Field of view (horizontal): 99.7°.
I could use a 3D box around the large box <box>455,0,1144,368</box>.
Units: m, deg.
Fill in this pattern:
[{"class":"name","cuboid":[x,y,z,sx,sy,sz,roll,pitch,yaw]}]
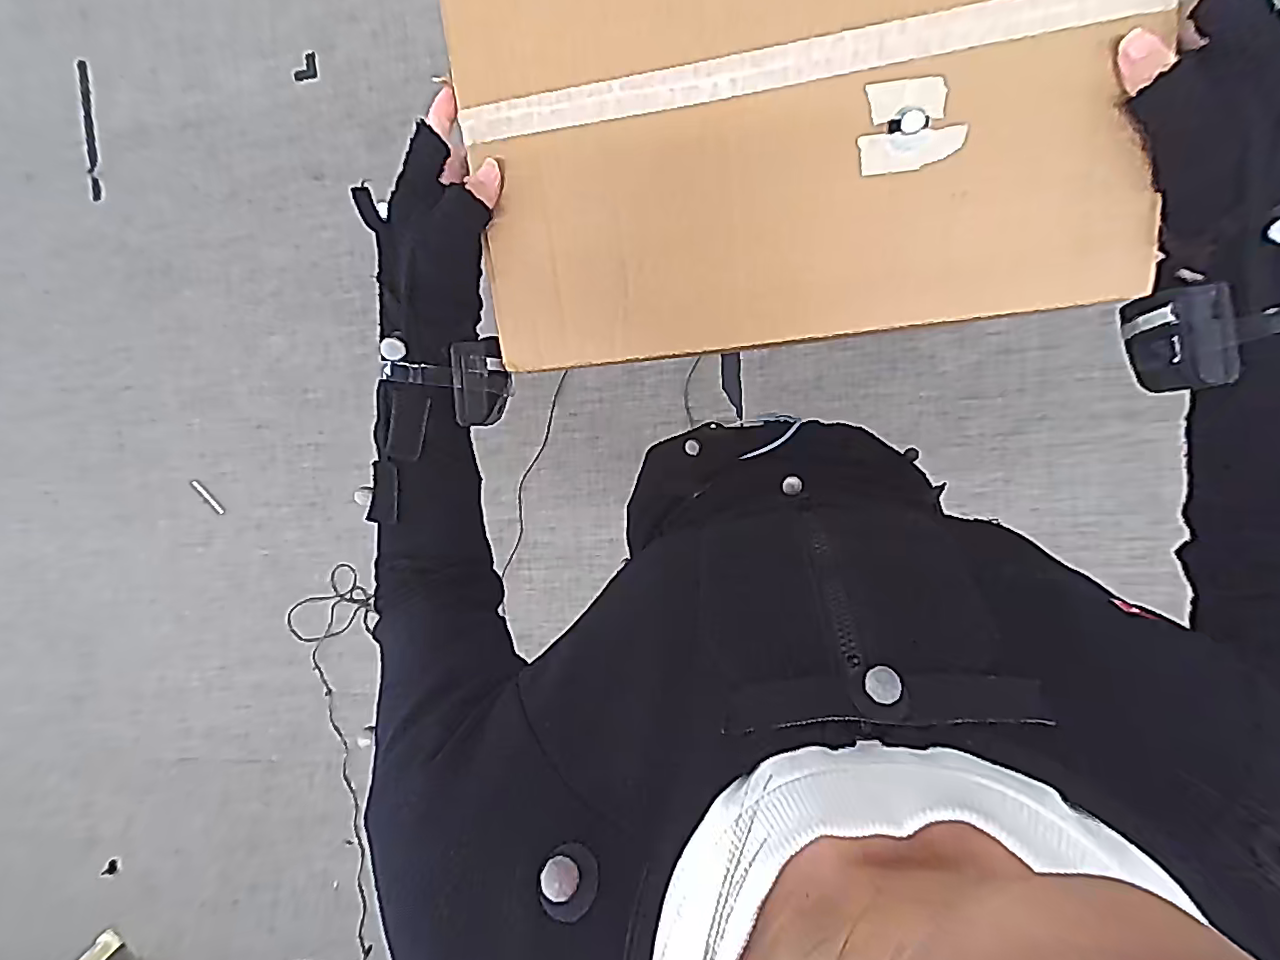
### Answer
[{"class":"large box","cuboid":[0.103,-0.283,0.476,0.408,0.320,0.320,-6,103,8]}]
